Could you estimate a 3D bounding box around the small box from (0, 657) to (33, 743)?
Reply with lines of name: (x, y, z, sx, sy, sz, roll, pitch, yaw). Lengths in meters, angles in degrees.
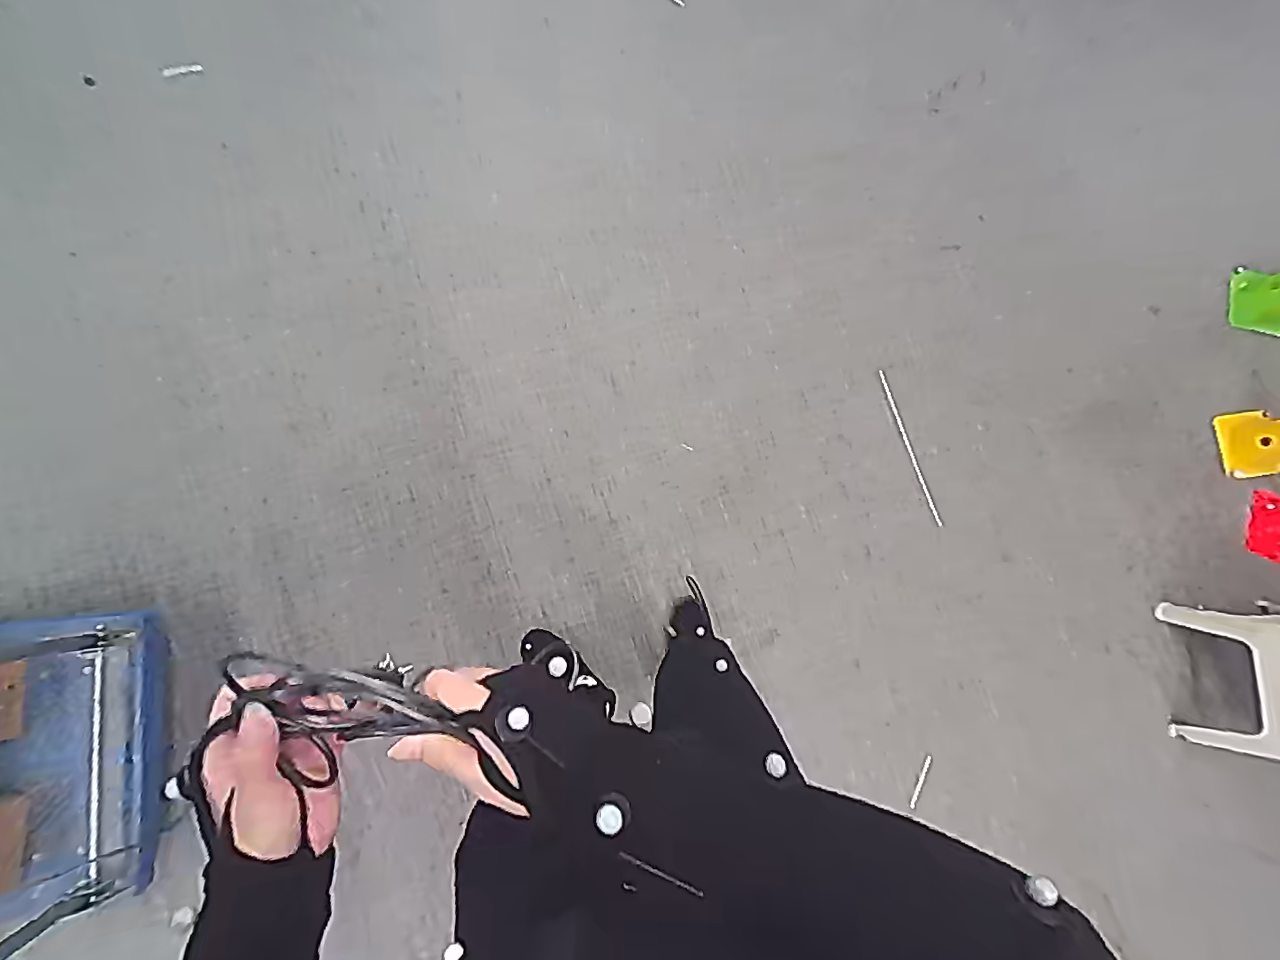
small box: (-1.334, 0.439, 1.024, 0.179, 0.176, 0.168, -3, 83, -7)
